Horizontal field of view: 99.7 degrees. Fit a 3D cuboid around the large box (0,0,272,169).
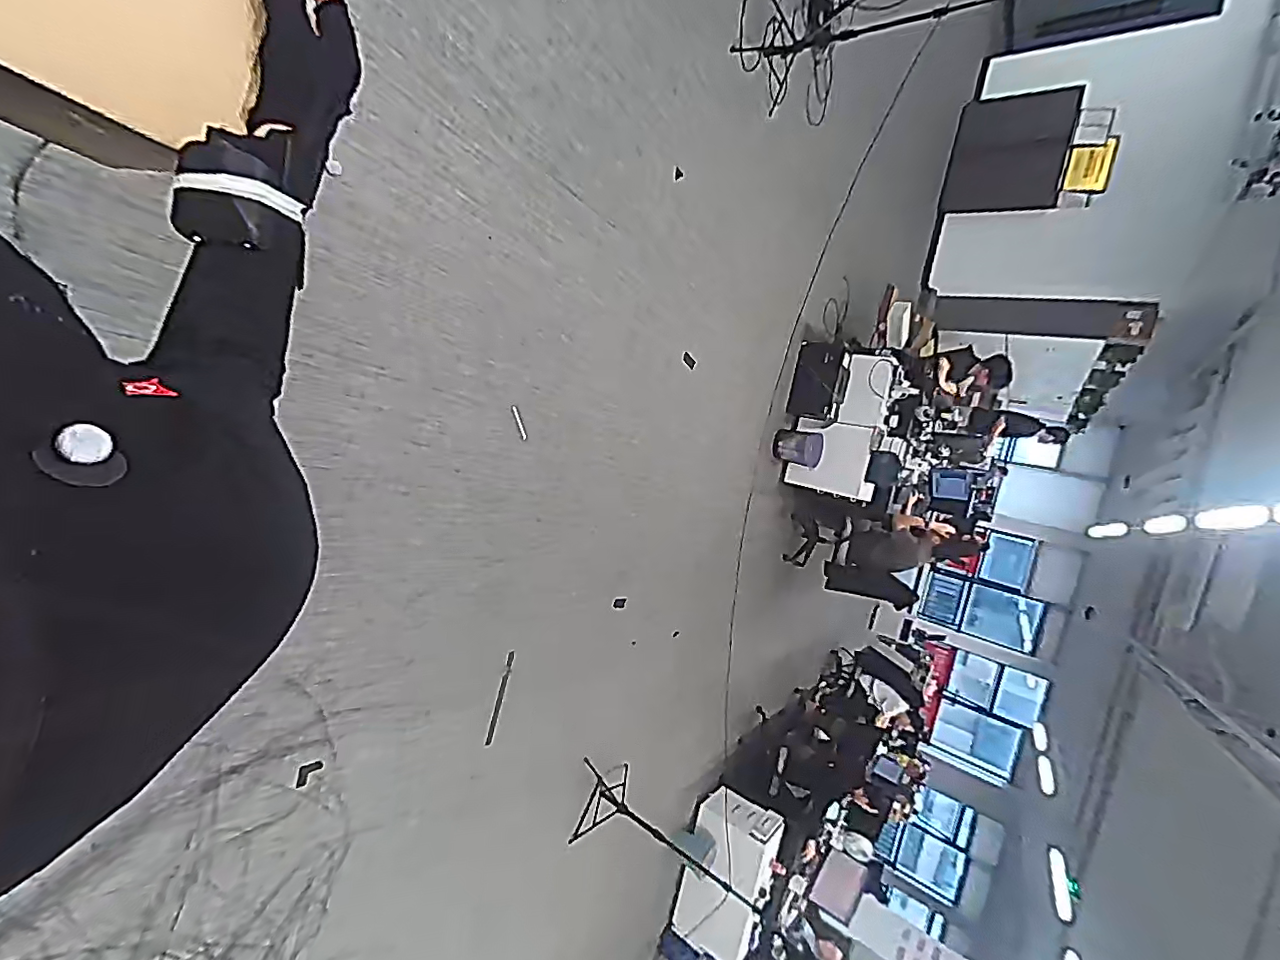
[{"bbox_3d":[-0.494,-0.445,0.312,0.408,0.320,0.320,10,101,-60],"label":"large box"}]
